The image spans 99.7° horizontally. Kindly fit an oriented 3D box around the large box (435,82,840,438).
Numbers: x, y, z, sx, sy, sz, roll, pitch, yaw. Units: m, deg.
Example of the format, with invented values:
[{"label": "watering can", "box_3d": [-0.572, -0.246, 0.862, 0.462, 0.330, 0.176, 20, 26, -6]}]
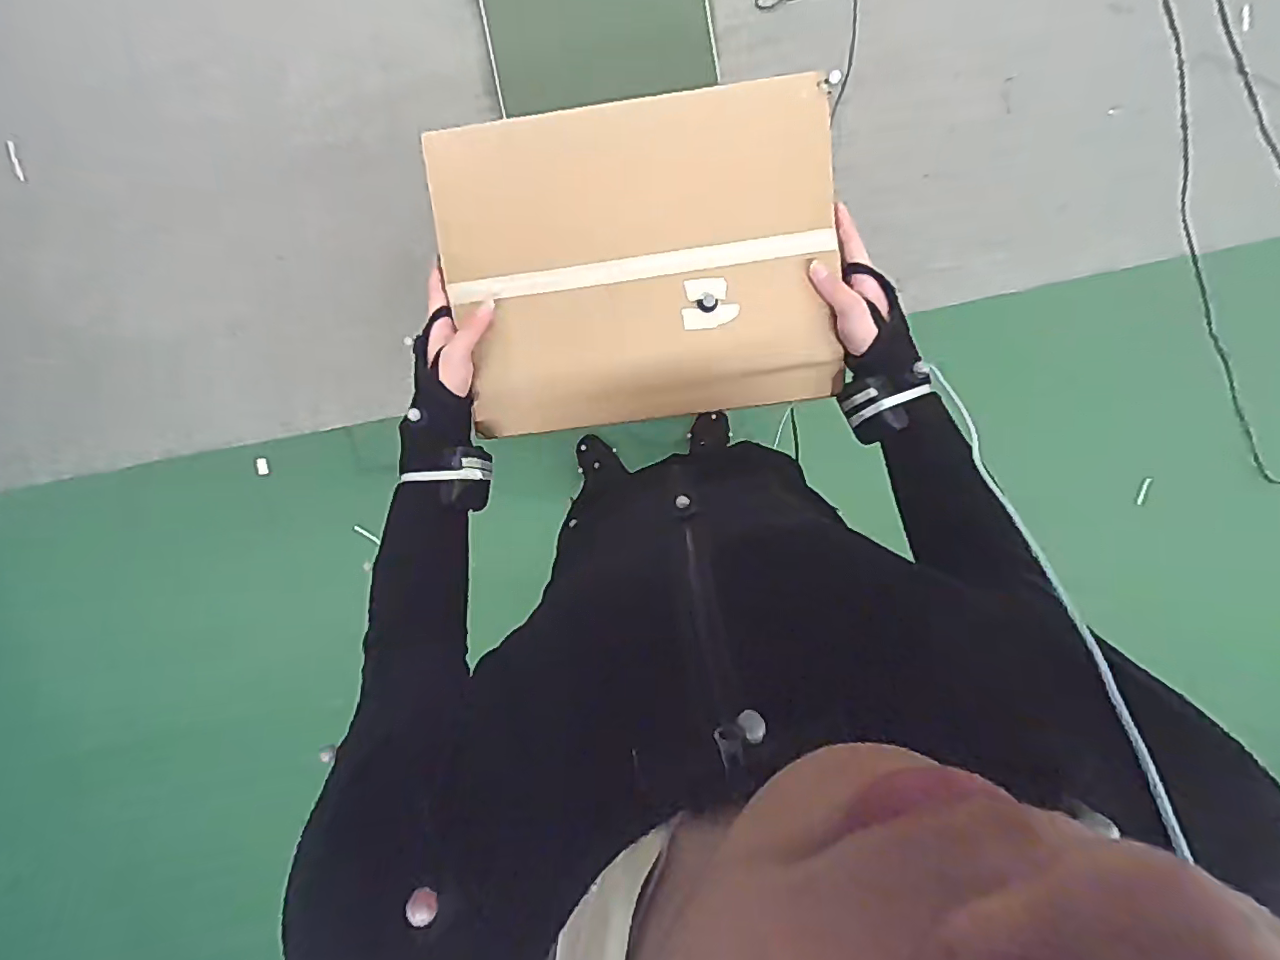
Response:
[{"label": "large box", "box_3d": [0.005, -0.247, 0.720, 0.408, 0.320, 0.320, -7, 101, 3]}]
